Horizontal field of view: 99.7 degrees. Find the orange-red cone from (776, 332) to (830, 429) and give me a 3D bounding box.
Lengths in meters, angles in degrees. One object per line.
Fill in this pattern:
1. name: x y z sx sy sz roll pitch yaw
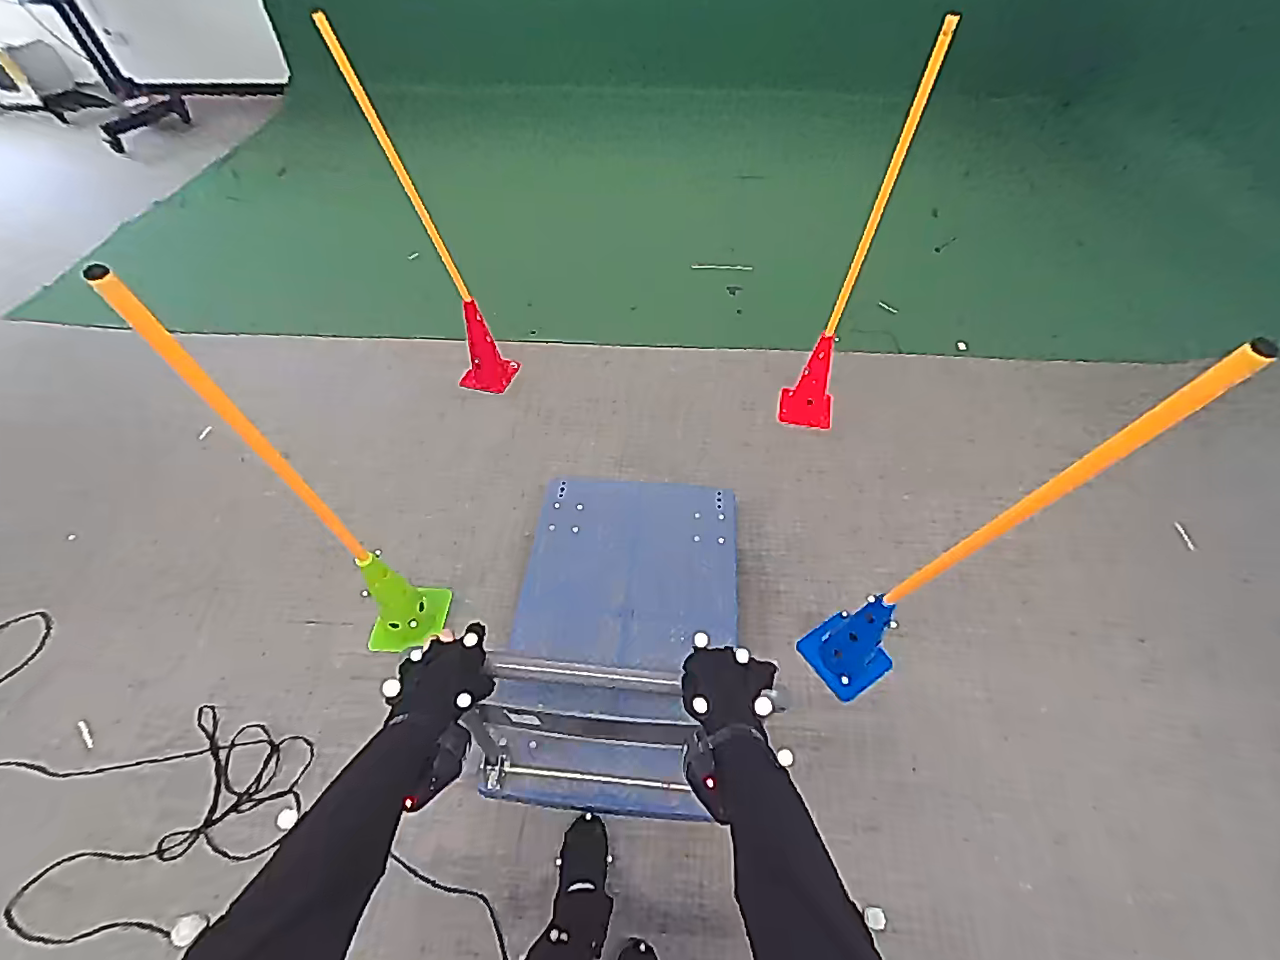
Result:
1. orange-red cone: 0.637 -0.386 1.986 0.198 0.360 0.199 11 53 10
